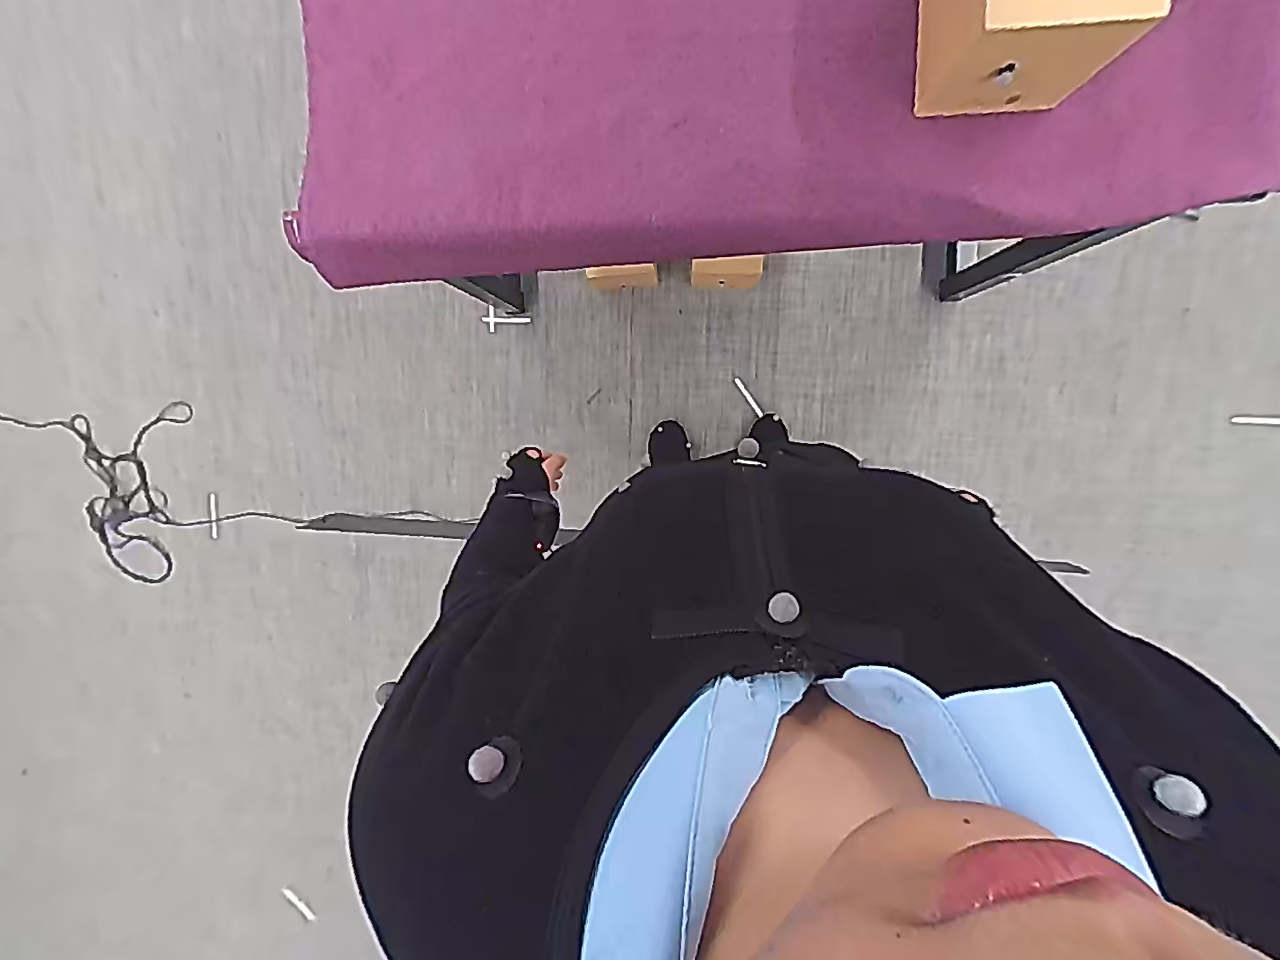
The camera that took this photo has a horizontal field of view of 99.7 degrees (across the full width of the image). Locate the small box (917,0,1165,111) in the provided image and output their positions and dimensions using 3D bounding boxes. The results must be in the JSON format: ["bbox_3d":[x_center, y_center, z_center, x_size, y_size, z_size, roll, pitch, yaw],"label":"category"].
[{"bbox_3d":[0.420,-0.530,0.585,0.168,0.176,0.179,0,97,5],"label":"small box"}]

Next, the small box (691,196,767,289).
[{"bbox_3d":[0.213,-0.577,1.334,0.168,0.176,0.179,3,97,4],"label":"small box"}]
